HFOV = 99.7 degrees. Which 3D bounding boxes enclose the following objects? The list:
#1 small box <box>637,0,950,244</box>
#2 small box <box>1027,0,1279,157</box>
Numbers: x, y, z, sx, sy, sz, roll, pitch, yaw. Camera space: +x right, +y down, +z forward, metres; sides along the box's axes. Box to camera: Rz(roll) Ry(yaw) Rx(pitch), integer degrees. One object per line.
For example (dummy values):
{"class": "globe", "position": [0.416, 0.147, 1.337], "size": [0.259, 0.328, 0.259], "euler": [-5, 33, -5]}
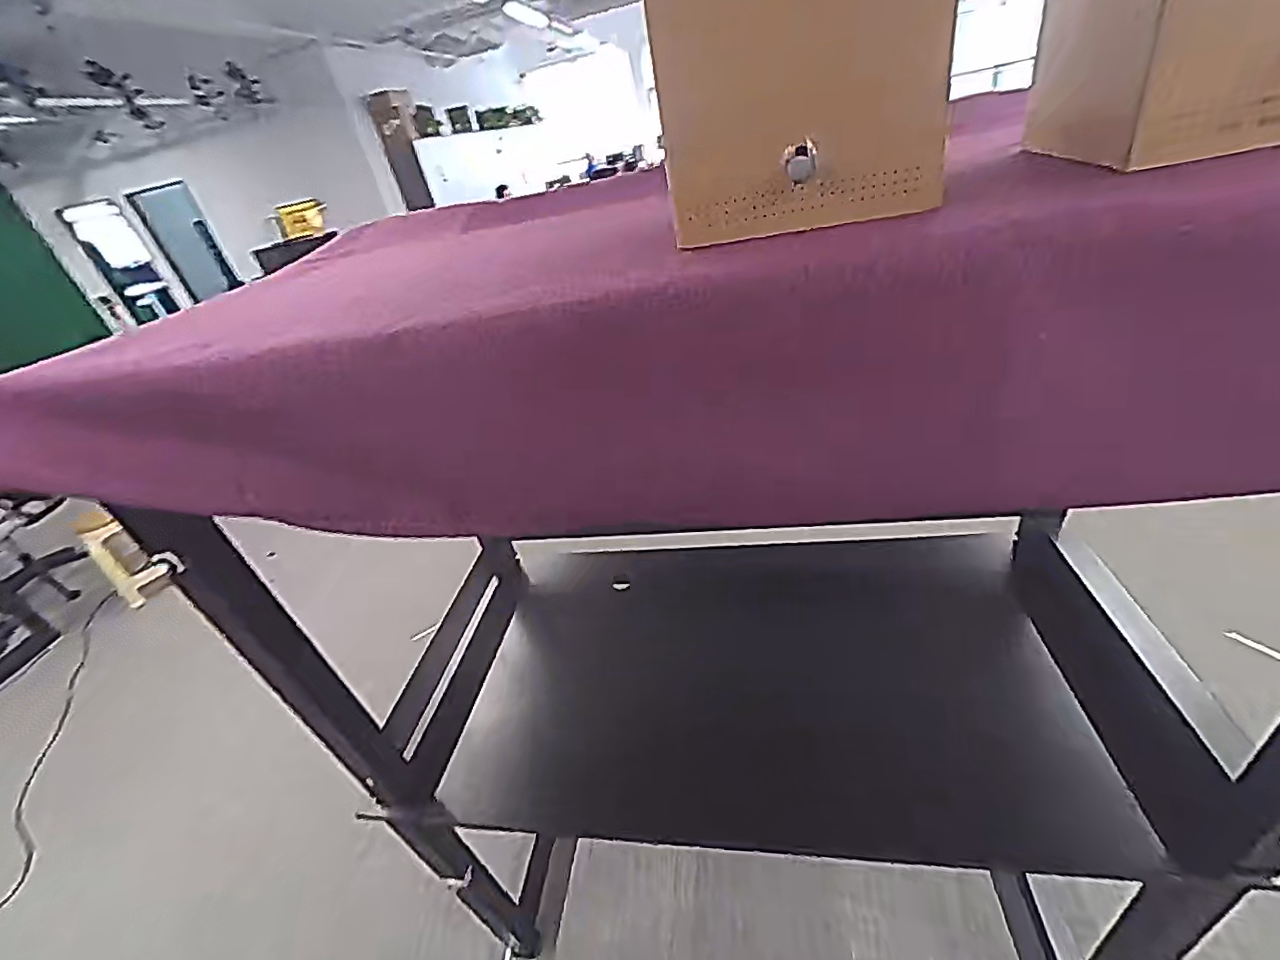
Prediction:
{"class": "small box", "position": [0.107, -0.284, 0.388], "size": [0.179, 0.176, 0.168], "euler": [-2, 33, 15]}
{"class": "small box", "position": [0.369, -0.310, 0.330], "size": [0.168, 0.176, 0.179], "euler": [-4, 33, 16]}
